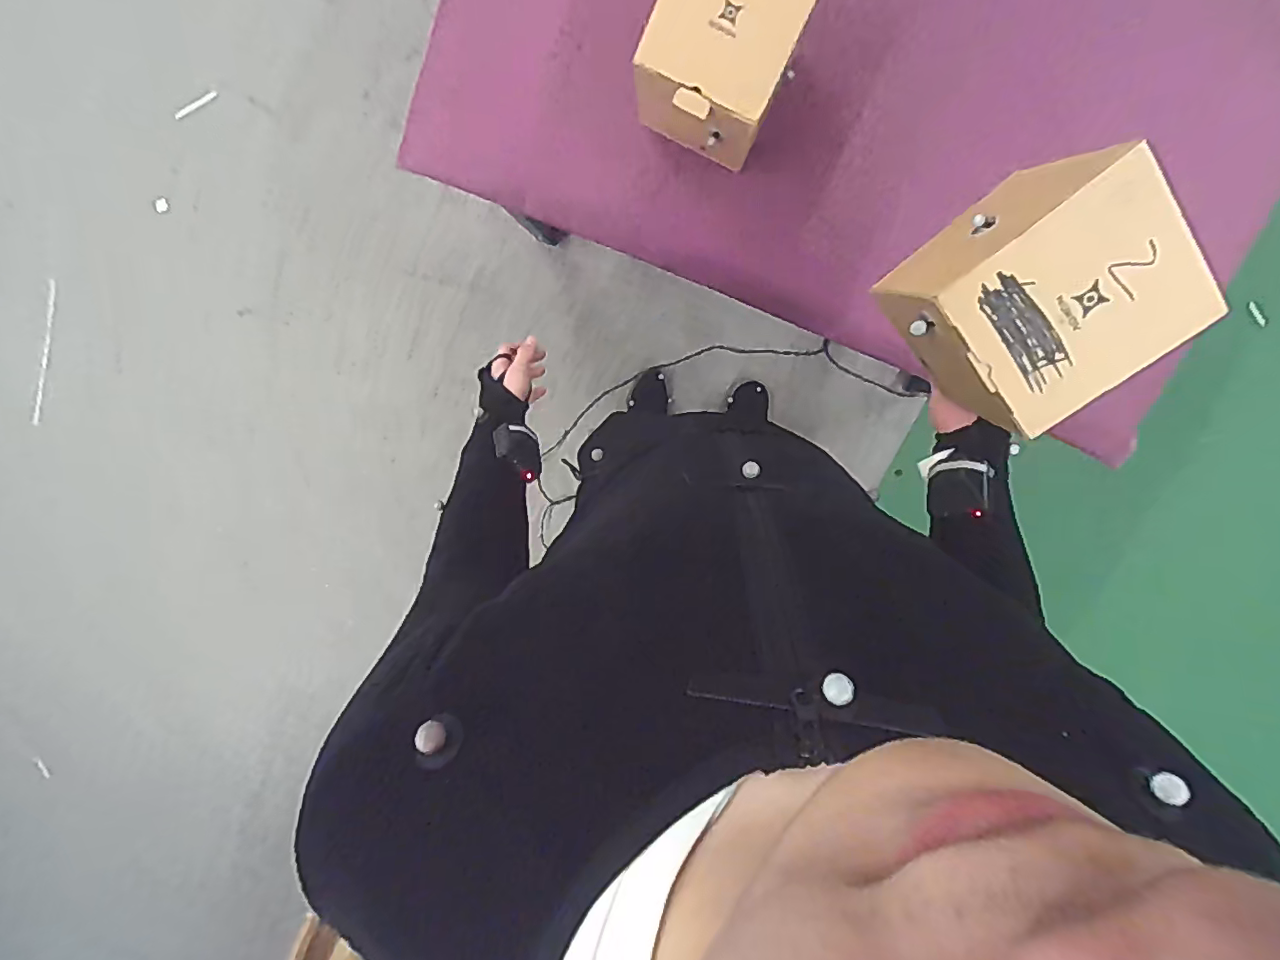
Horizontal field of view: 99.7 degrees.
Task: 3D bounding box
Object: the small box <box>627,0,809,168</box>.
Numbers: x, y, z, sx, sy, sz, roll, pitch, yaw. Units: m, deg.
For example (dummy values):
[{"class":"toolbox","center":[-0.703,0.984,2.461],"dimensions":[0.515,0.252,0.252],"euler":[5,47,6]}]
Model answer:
[{"class":"small box","center":[0.098,-0.549,0.705],"dimensions":[0.168,0.176,0.179],"euler":[26,102,-3]}]
